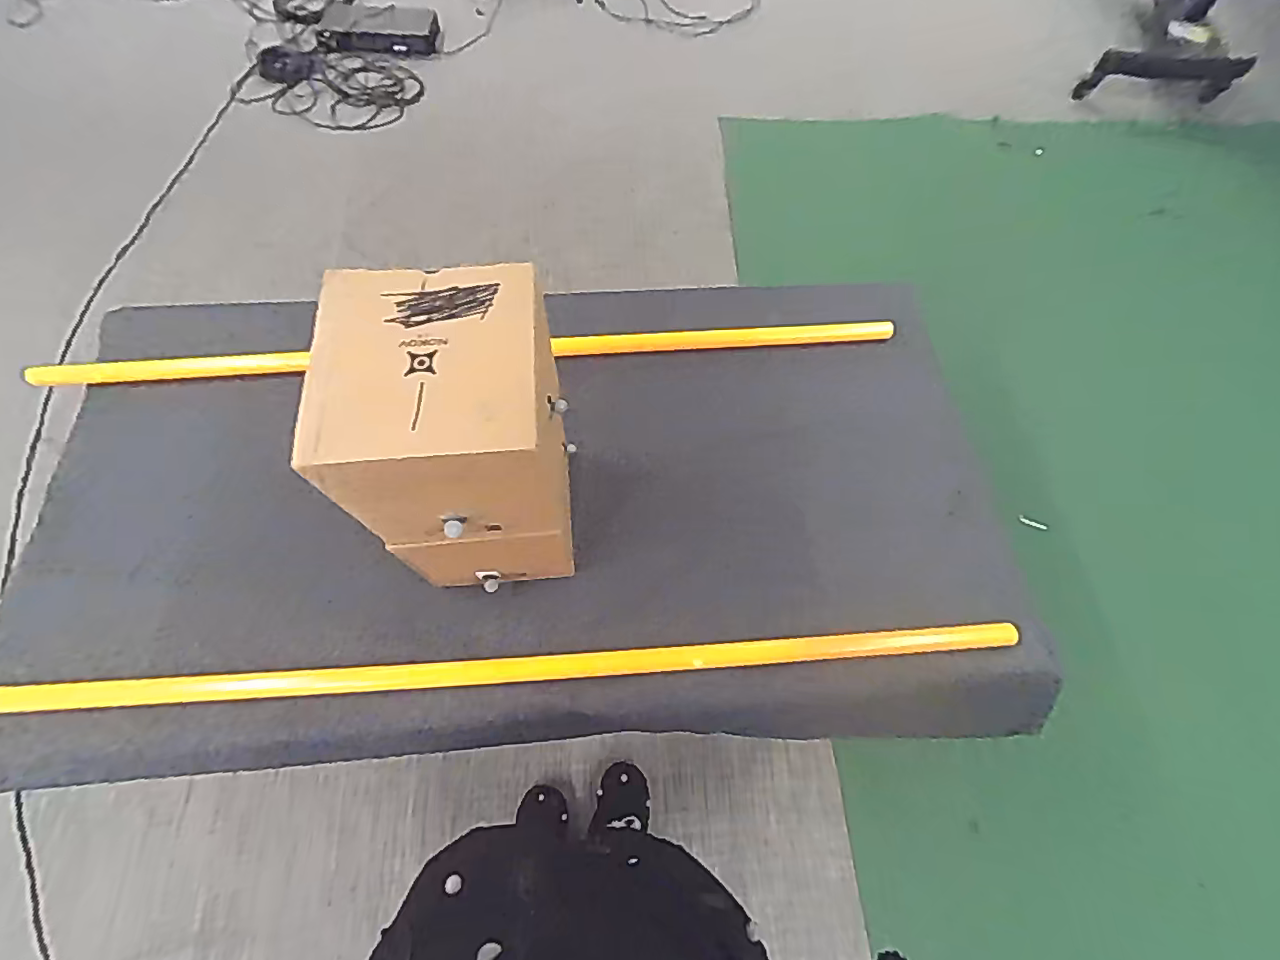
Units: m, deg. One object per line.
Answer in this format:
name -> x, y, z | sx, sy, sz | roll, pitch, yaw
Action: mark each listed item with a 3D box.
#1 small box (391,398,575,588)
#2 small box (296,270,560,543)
small box -> -0.169, 0.015, 0.629 | 0.168, 0.176, 0.179 | -6, 67, -4
small box -> -0.163, -0.057, 0.480 | 0.168, 0.176, 0.179 | -4, 65, -3
